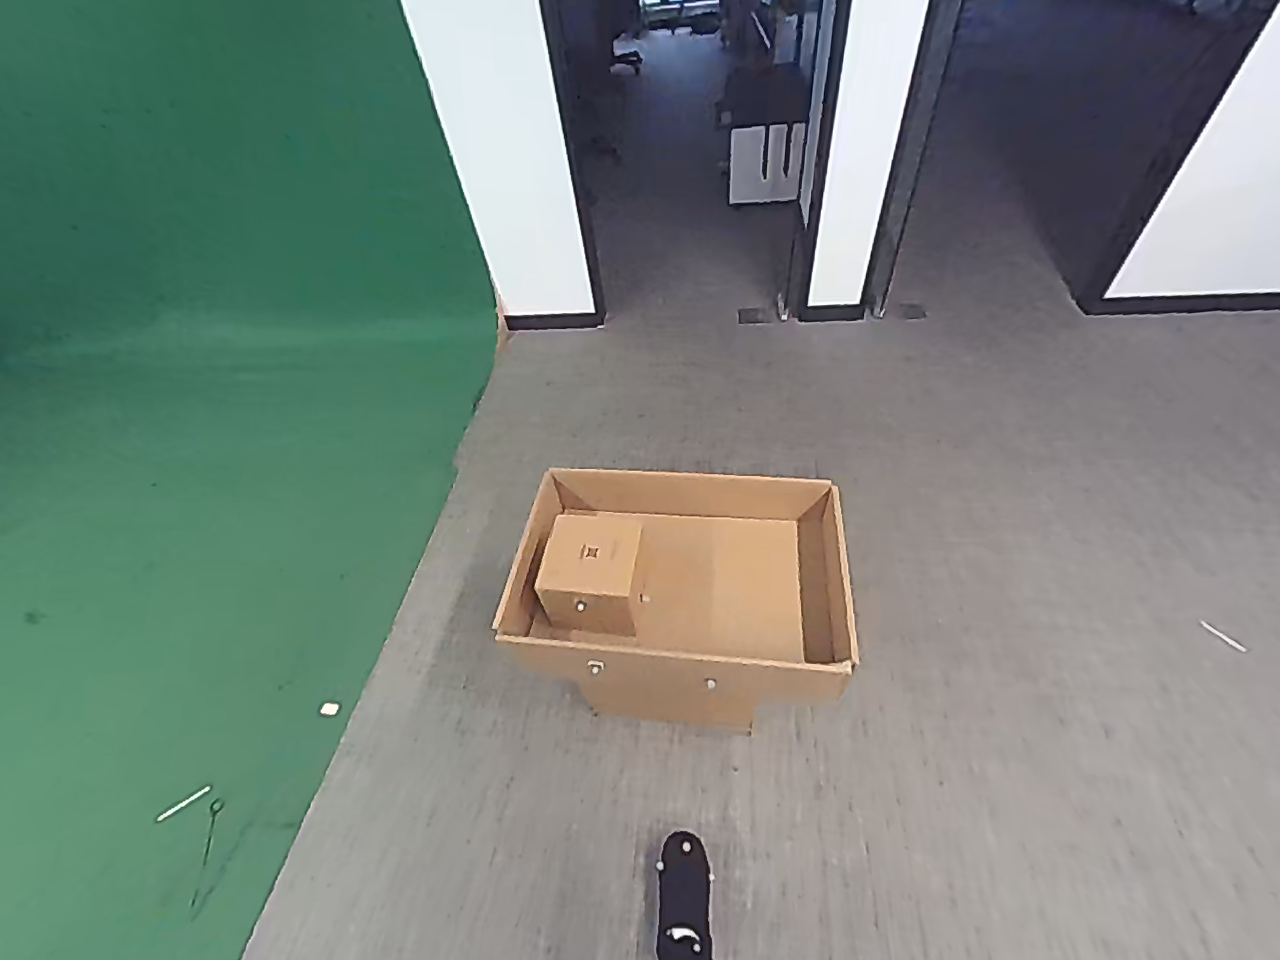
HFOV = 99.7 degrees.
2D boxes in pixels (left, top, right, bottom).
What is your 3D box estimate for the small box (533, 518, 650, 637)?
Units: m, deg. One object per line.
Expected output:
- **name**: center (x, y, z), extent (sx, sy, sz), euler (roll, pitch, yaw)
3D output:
- **small box**: center (-0.084, 0.193, 1.055), extent (0.179, 0.176, 0.168), euler (3, 50, 11)
